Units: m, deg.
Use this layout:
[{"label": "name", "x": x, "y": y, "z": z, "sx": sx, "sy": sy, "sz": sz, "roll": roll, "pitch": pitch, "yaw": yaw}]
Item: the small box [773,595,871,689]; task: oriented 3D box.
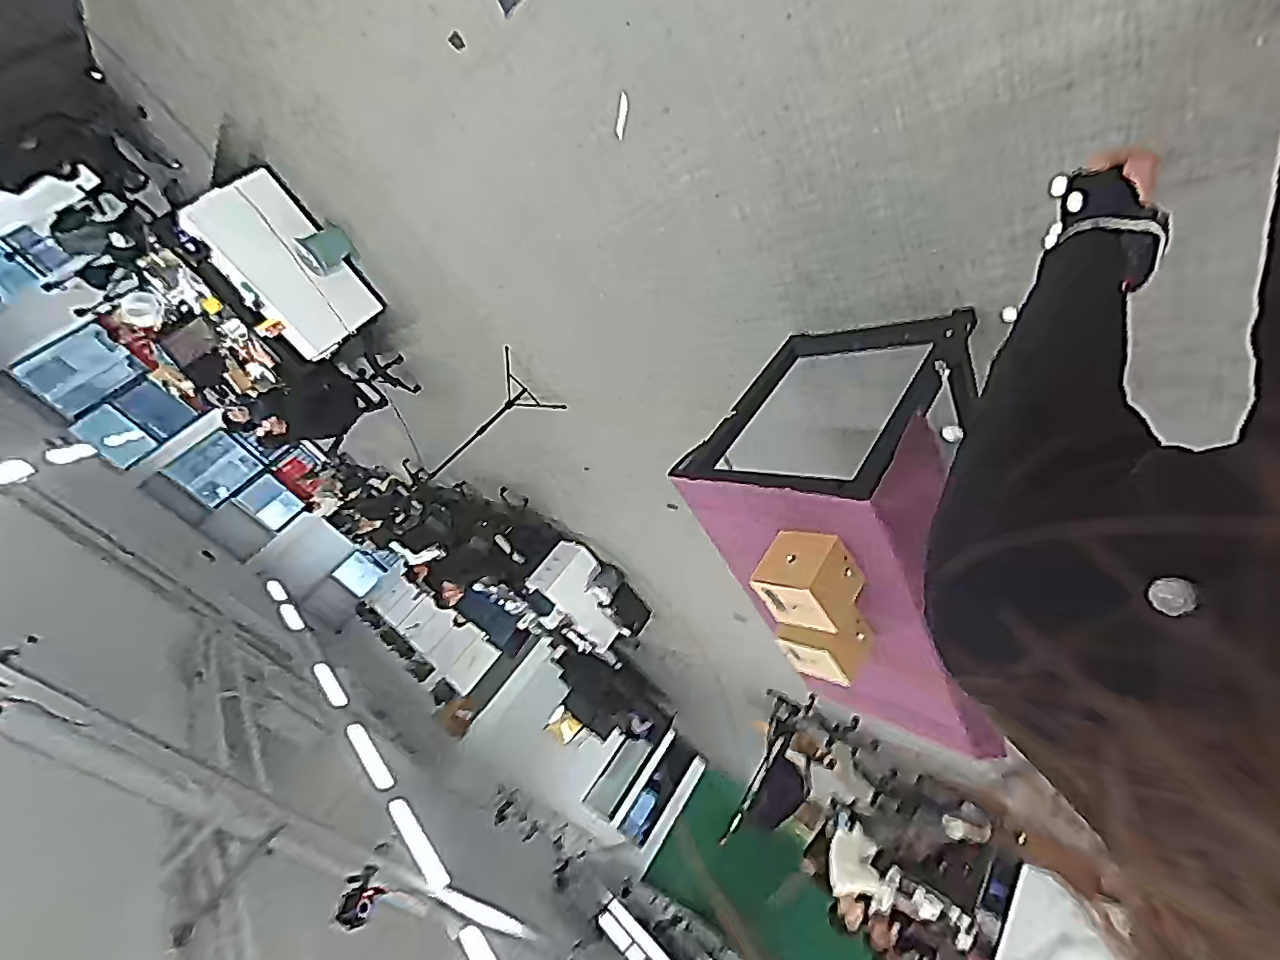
[{"label": "small box", "x": 0.514, "y": 0.447, "z": 1.519, "sx": 0.179, "sy": 0.176, "sz": 0.168, "roll": 1, "pitch": 135, "yaw": 52}]
